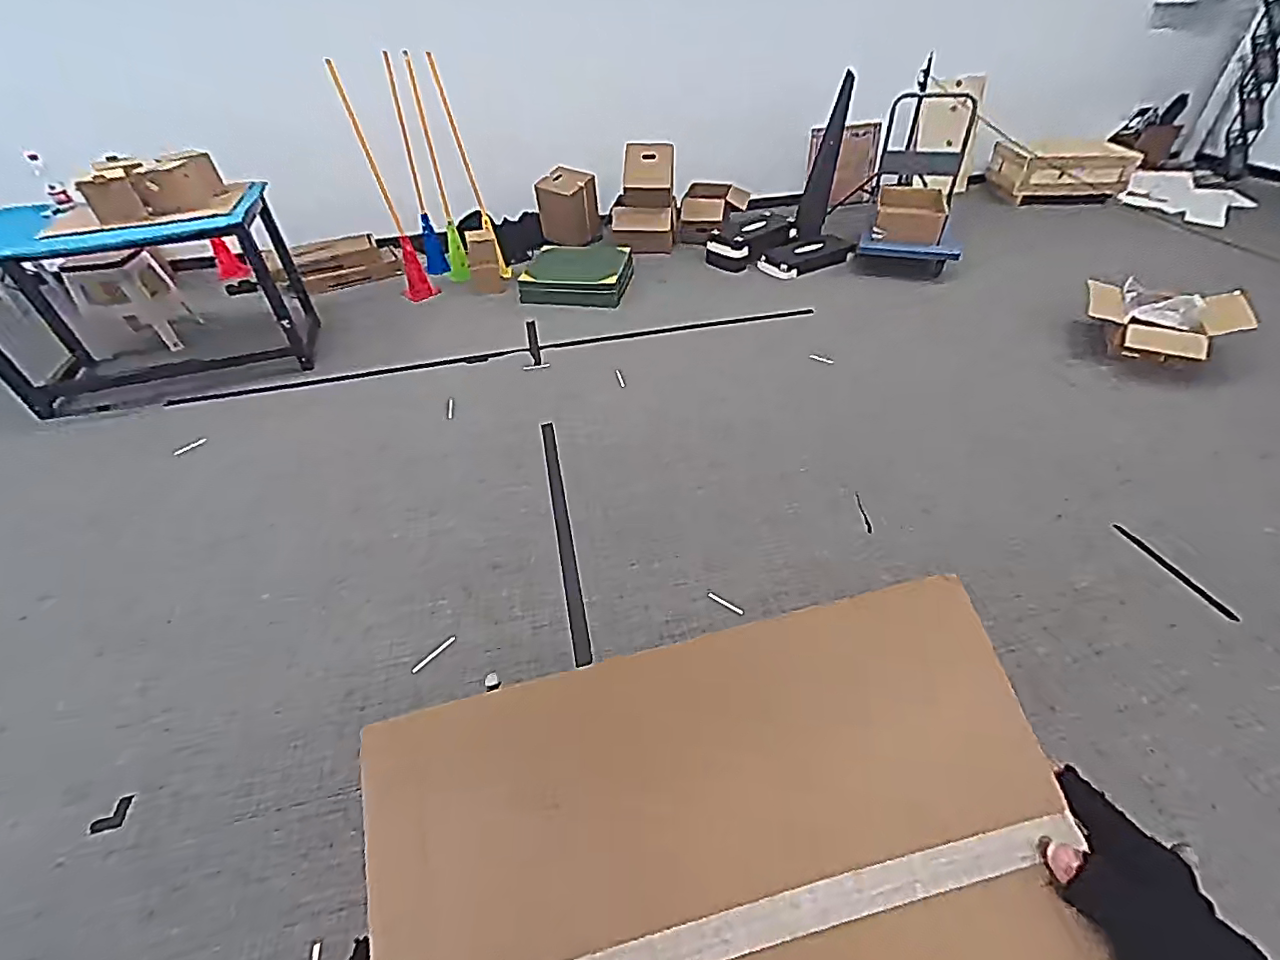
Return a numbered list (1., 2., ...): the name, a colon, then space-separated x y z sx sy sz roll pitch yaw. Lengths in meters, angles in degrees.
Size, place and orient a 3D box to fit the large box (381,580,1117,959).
1. large box: 0.061 0.310 0.452 0.408 0.320 0.320 -14 70 -3
